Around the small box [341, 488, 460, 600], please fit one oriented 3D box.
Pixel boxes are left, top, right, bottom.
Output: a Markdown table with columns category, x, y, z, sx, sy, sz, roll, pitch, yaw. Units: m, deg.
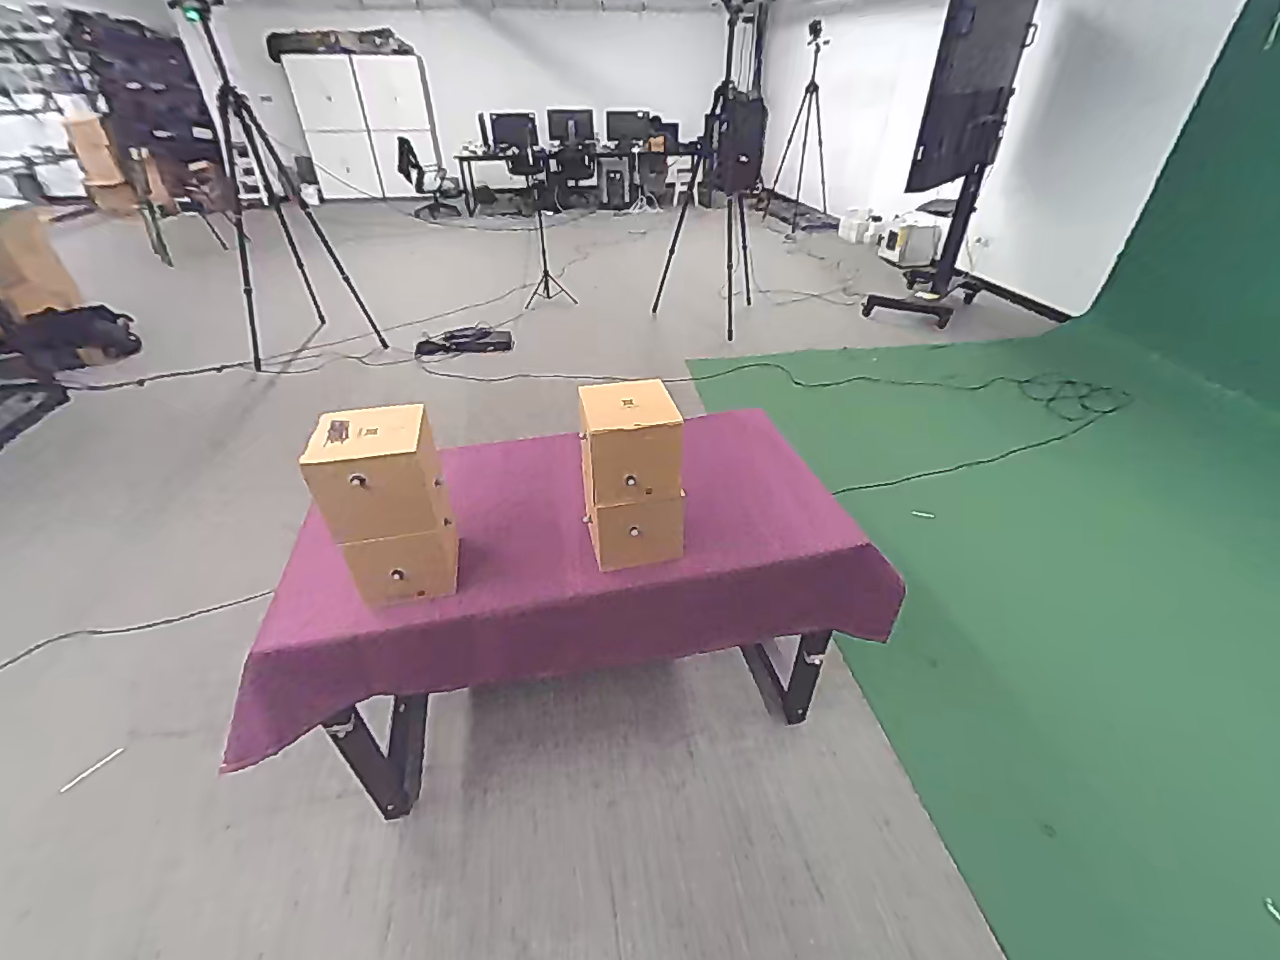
| category | x | y | z | sx | sy | sz | roll | pitch | yaw |
| --- | --- | --- | --- | --- | --- | --- | --- | --- | --- |
| small box | -0.453 | 0.116 | 1.053 | 0.168 | 0.176 | 0.179 | -7 | 36 | -10 |

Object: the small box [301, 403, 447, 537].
| category | x | y | z | sx | sy | sz | roll | pitch | yaw |
| --- | --- | --- | --- | --- | --- | --- | --- | --- | --- |
| small box | -0.455 | -0.017 | 0.955 | 0.179 | 0.176 | 0.168 | -7 | 37 | -11 |

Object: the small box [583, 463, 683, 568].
| category | x | y | z | sx | sy | sz | roll | pitch | yaw |
| --- | --- | --- | --- | --- | --- | --- | --- | --- | --- |
| small box | -0.014 | 0.062 | 1.123 | 0.179 | 0.176 | 0.168 | -9 | 37 | -10 |

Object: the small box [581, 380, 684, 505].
| category | x | y | z | sx | sy | sz | roll | pitch | yaw |
| --- | --- | --- | --- | --- | --- | --- | --- | --- | --- |
| small box | -0.020 | -0.074 | 1.031 | 0.168 | 0.176 | 0.179 | -7 | 37 | -10 |
